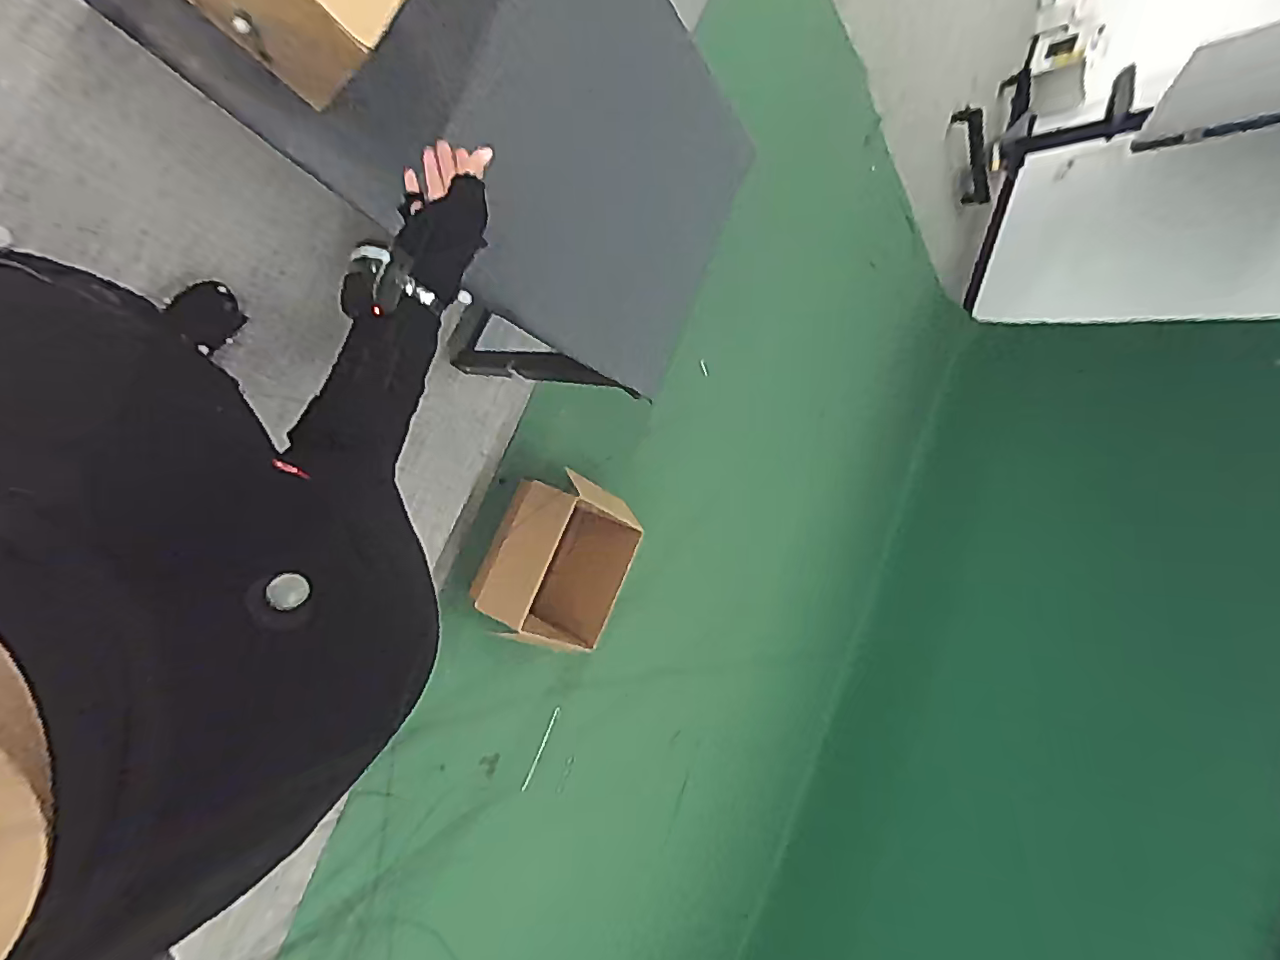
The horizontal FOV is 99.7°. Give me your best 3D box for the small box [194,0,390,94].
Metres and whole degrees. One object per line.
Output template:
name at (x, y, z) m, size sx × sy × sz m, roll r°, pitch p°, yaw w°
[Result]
small box at (-0.327, -0.521, 0.509) m, size 0.168 × 0.176 × 0.179 m, roll 33°, pitch 75°, yaw -44°
